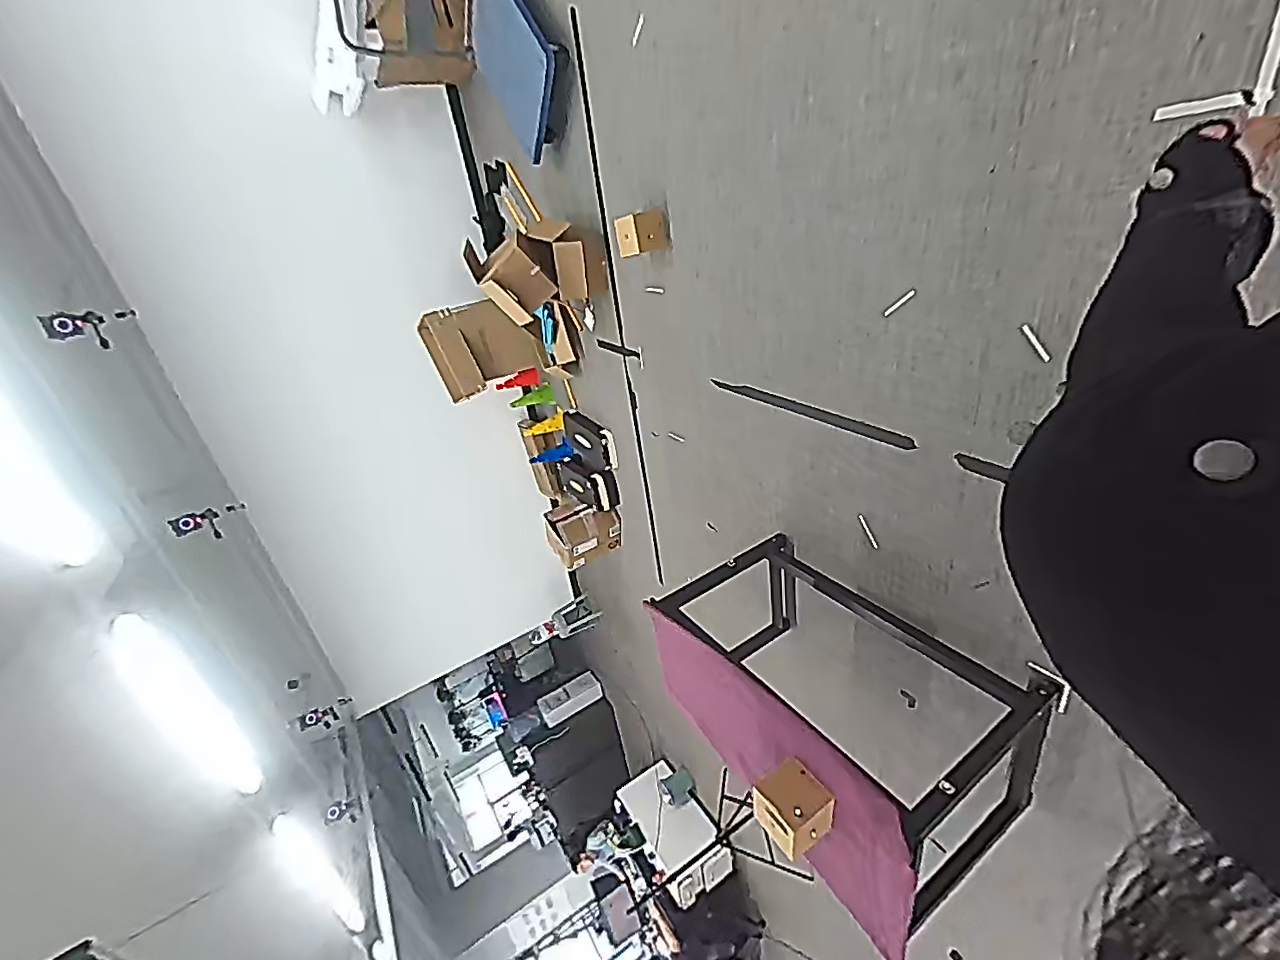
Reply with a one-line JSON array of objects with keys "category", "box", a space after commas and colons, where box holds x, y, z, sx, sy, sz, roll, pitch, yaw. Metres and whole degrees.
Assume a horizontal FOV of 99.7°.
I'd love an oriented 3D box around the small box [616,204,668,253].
[{"category": "small box", "box": [0.016, -1.158, 2.485, 0.179, 0.176, 0.168, 25, 133, 57]}]
